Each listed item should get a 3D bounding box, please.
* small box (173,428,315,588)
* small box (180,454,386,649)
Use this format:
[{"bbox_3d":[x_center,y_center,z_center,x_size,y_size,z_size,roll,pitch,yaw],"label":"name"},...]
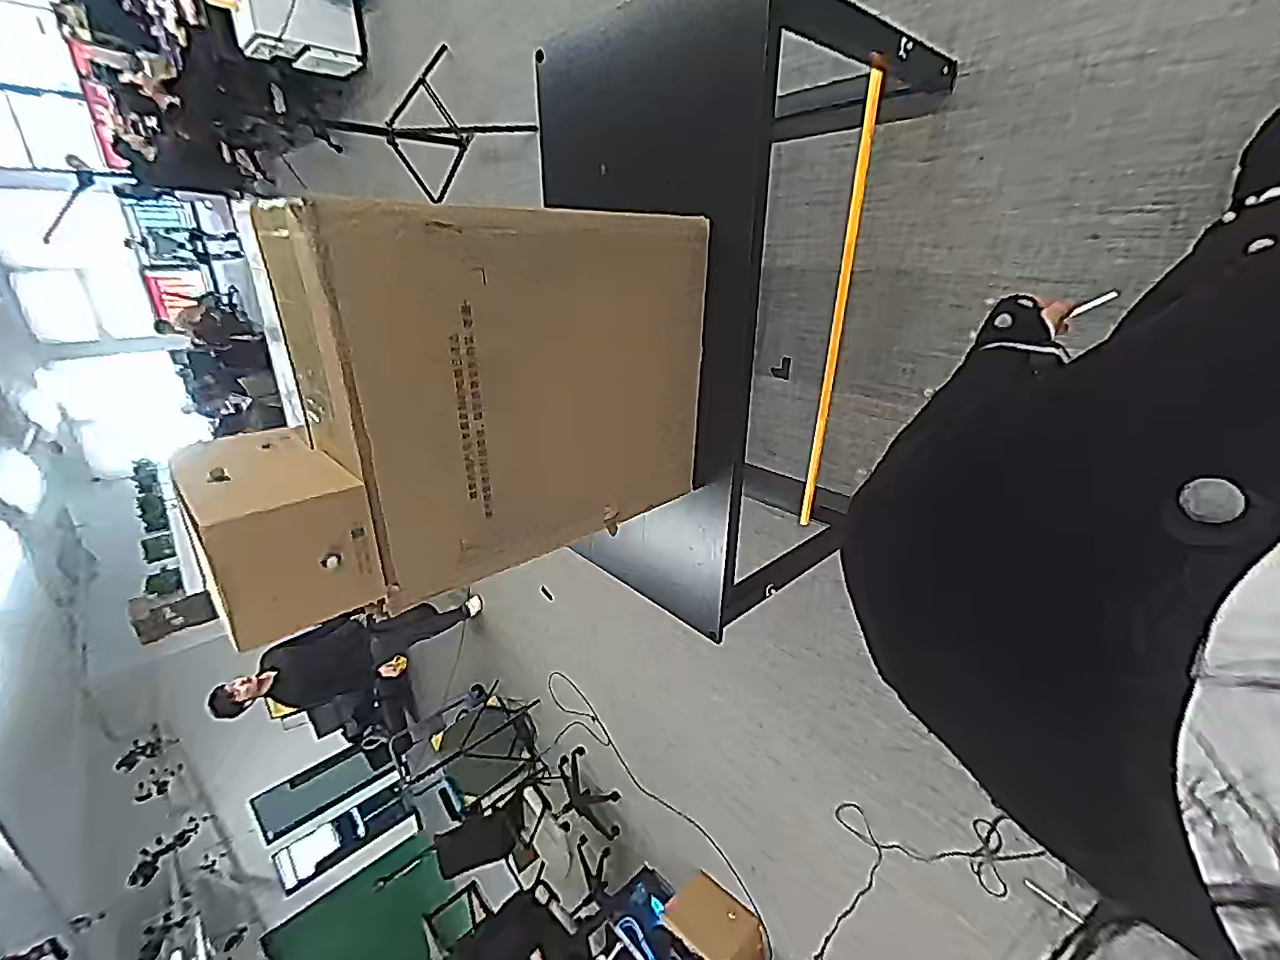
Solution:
[{"bbox_3d":[-0.586,0.034,0.834,0.168,0.176,0.179,26,123,44],"label":"small box"},{"bbox_3d":[-0.451,0.075,0.693,0.179,0.176,0.168,22,122,40],"label":"small box"}]
